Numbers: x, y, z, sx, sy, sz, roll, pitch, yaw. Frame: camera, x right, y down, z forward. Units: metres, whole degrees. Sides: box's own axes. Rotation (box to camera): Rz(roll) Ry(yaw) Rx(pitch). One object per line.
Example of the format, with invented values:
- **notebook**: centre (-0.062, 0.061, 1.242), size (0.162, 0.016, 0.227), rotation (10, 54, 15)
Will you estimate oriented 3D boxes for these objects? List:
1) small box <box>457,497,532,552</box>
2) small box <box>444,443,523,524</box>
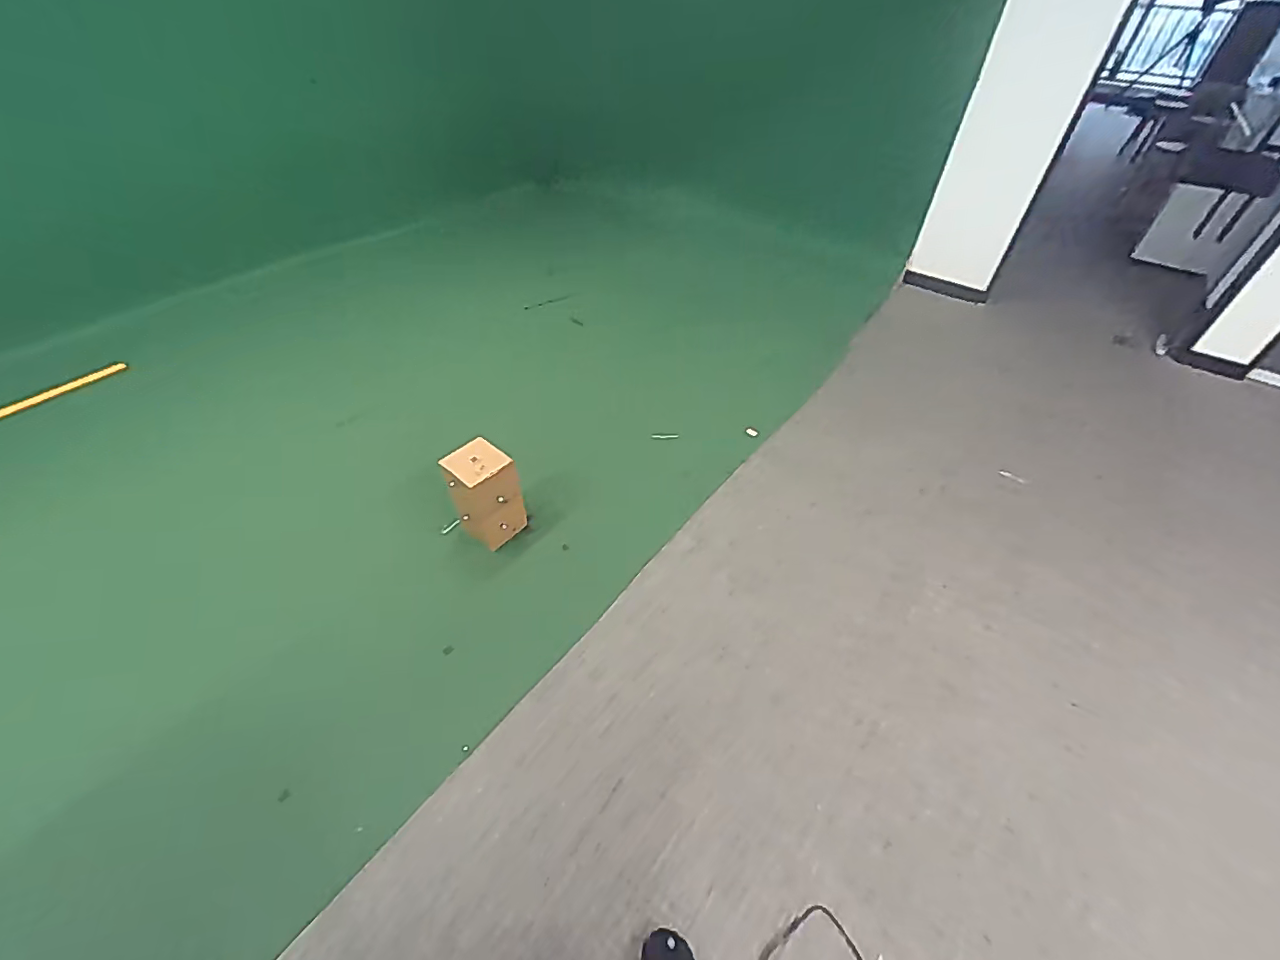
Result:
- **small box**: centre (-0.503, 0.128, 1.894), size (0.179, 0.176, 0.168), rotation (29, 53, 27)
- **small box**: centre (-0.509, 0.014, 1.774), size (0.179, 0.176, 0.168), rotation (31, 55, 28)
